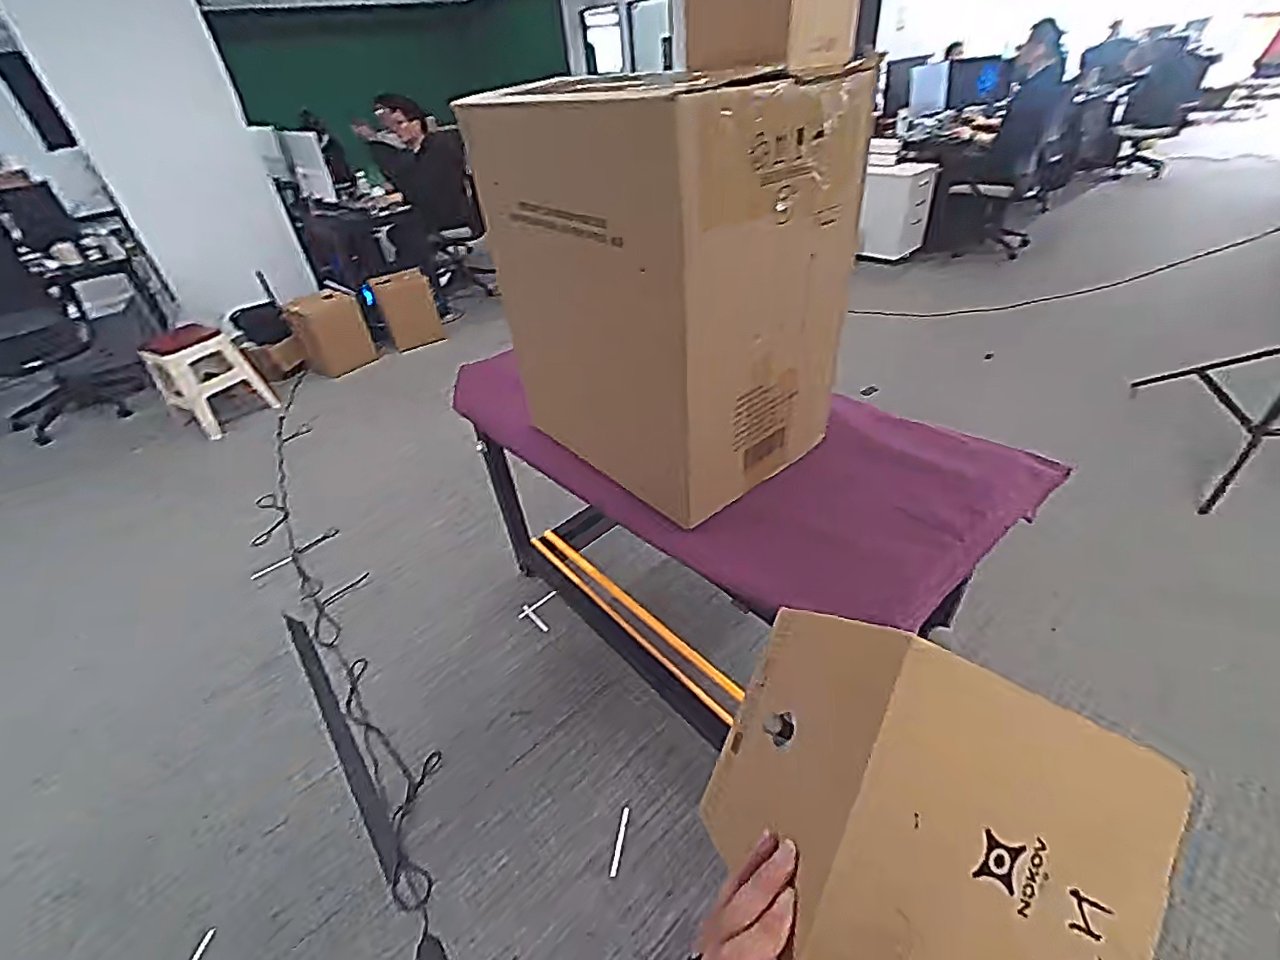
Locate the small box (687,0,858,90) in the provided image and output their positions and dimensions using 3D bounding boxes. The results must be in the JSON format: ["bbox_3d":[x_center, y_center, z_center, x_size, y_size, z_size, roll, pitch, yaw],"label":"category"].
[{"bbox_3d":[0.180,-0.639,0.724,0.179,0.176,0.168,27,48,37],"label":"small box"}]

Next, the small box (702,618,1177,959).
[{"bbox_3d":[0.160,0.198,0.341,0.179,0.176,0.168,27,78,-4],"label":"small box"}]
